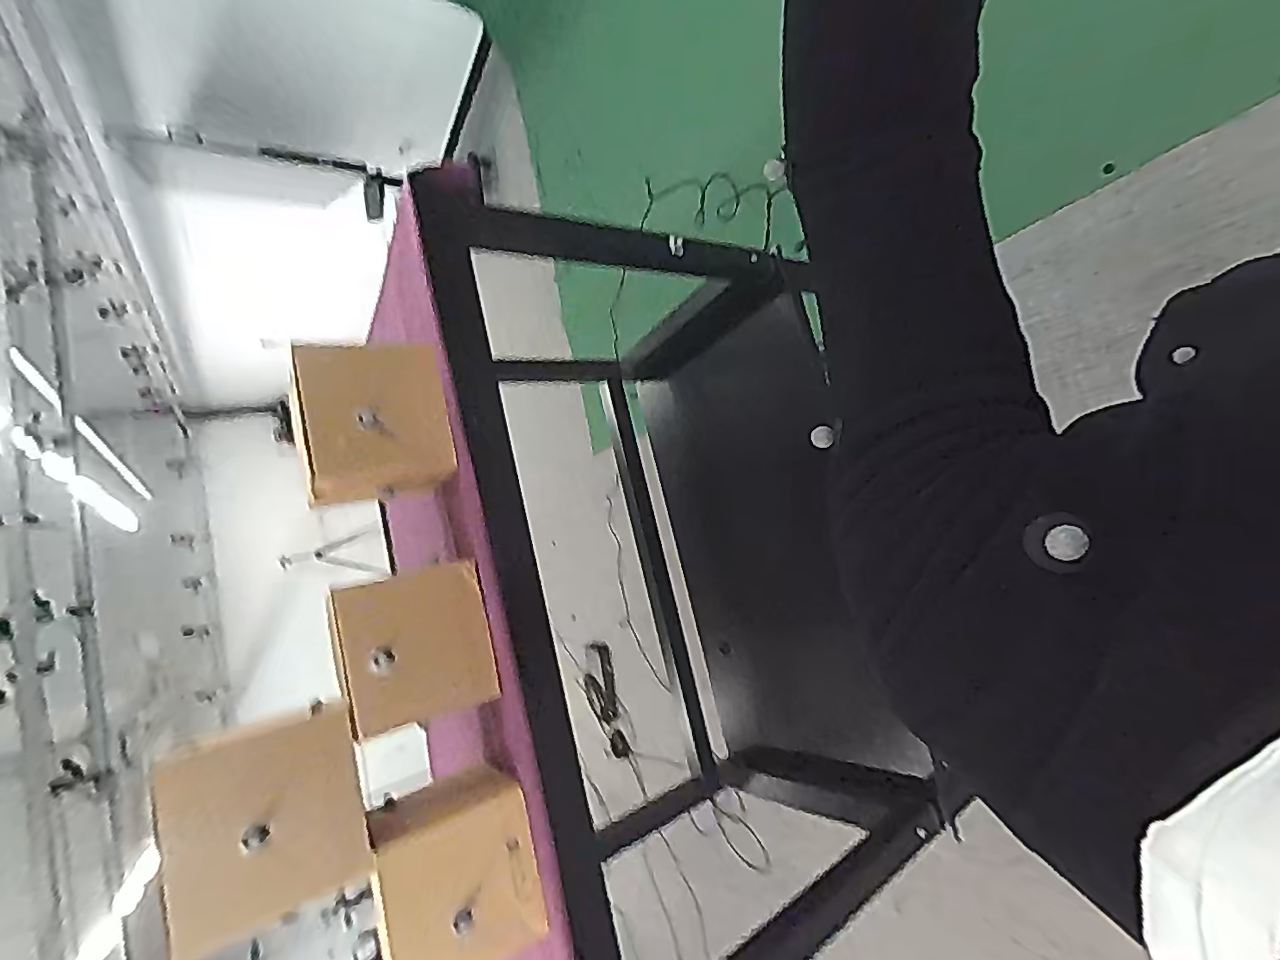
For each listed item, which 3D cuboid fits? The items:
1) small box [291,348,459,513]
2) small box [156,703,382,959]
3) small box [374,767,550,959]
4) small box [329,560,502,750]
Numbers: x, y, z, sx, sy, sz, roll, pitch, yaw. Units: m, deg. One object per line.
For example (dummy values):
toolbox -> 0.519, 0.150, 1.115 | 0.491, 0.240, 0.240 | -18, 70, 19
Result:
small box -> -0.359, -0.068, 0.732 | 0.168, 0.176, 0.179 | -26, 77, 53
small box -> -0.395, 0.360, 0.592 | 0.168, 0.176, 0.179 | -29, 74, 55
small box -> -0.220, 0.475, 0.656 | 0.179, 0.176, 0.168 | -28, 74, 56
small box -> -0.289, 0.213, 0.696 | 0.168, 0.176, 0.179 | -24, 77, 55
